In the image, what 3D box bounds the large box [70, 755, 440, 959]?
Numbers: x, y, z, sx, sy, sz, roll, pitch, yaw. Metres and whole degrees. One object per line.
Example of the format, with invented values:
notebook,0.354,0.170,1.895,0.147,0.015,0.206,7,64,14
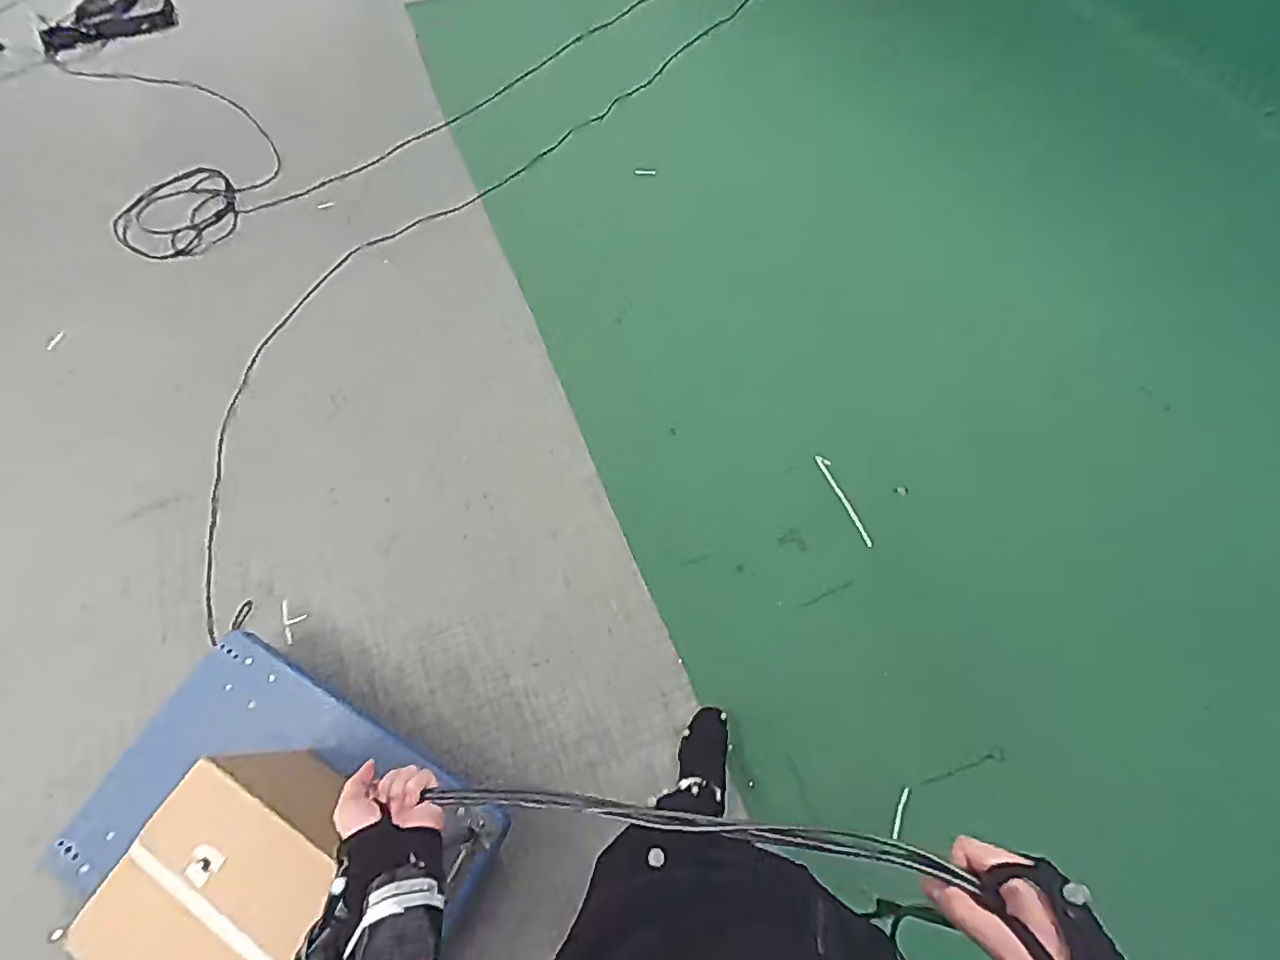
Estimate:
large box,-0.672,0.773,1.015,0.408,0.320,0.320,25,69,14
